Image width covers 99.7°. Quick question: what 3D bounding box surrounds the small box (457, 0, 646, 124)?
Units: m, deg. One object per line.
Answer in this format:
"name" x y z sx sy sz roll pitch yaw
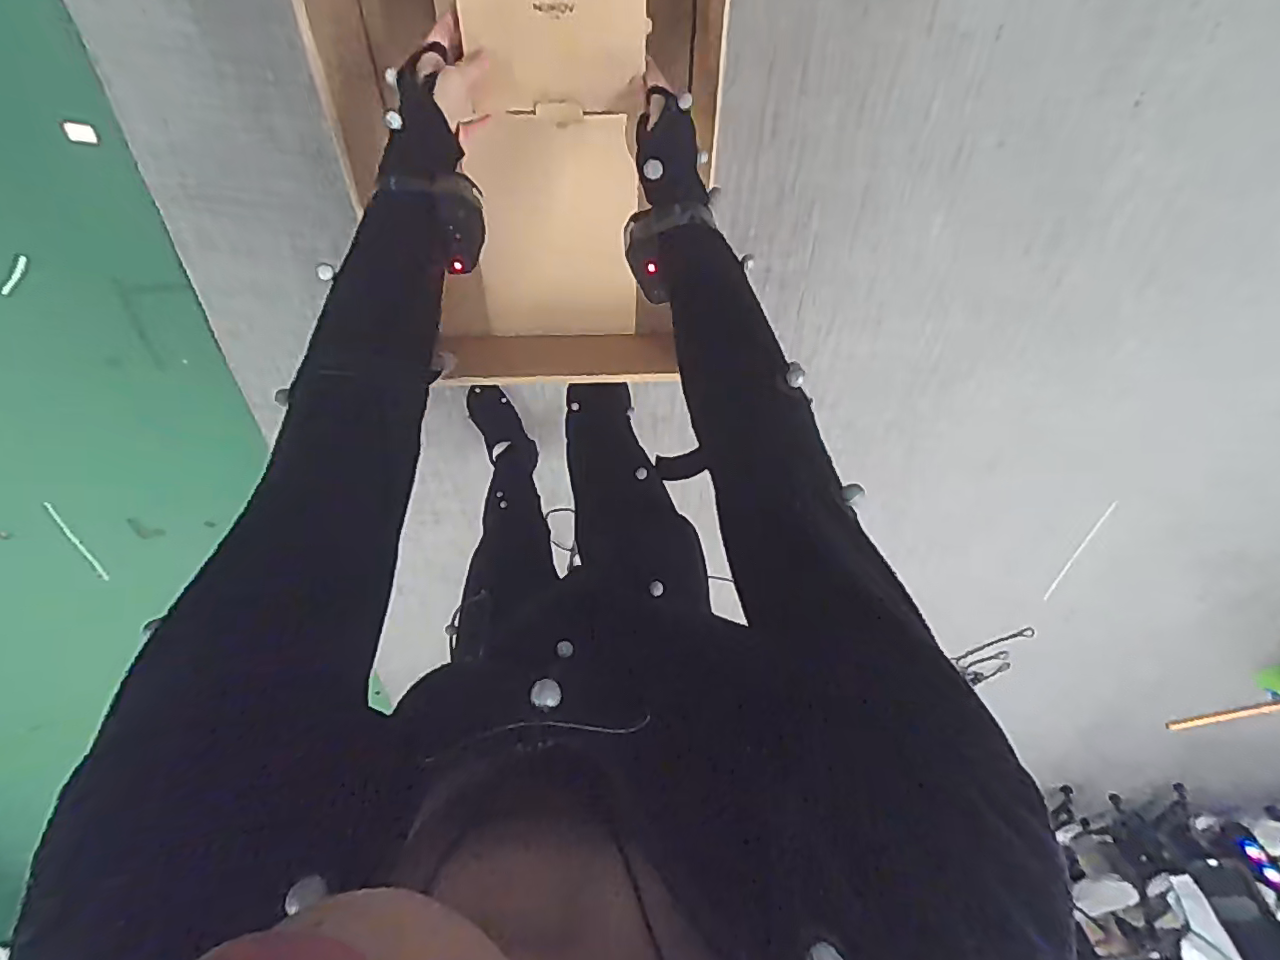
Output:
"small box" -0.083 -0.462 0.531 0.168 0.176 0.179 -3 127 -6
